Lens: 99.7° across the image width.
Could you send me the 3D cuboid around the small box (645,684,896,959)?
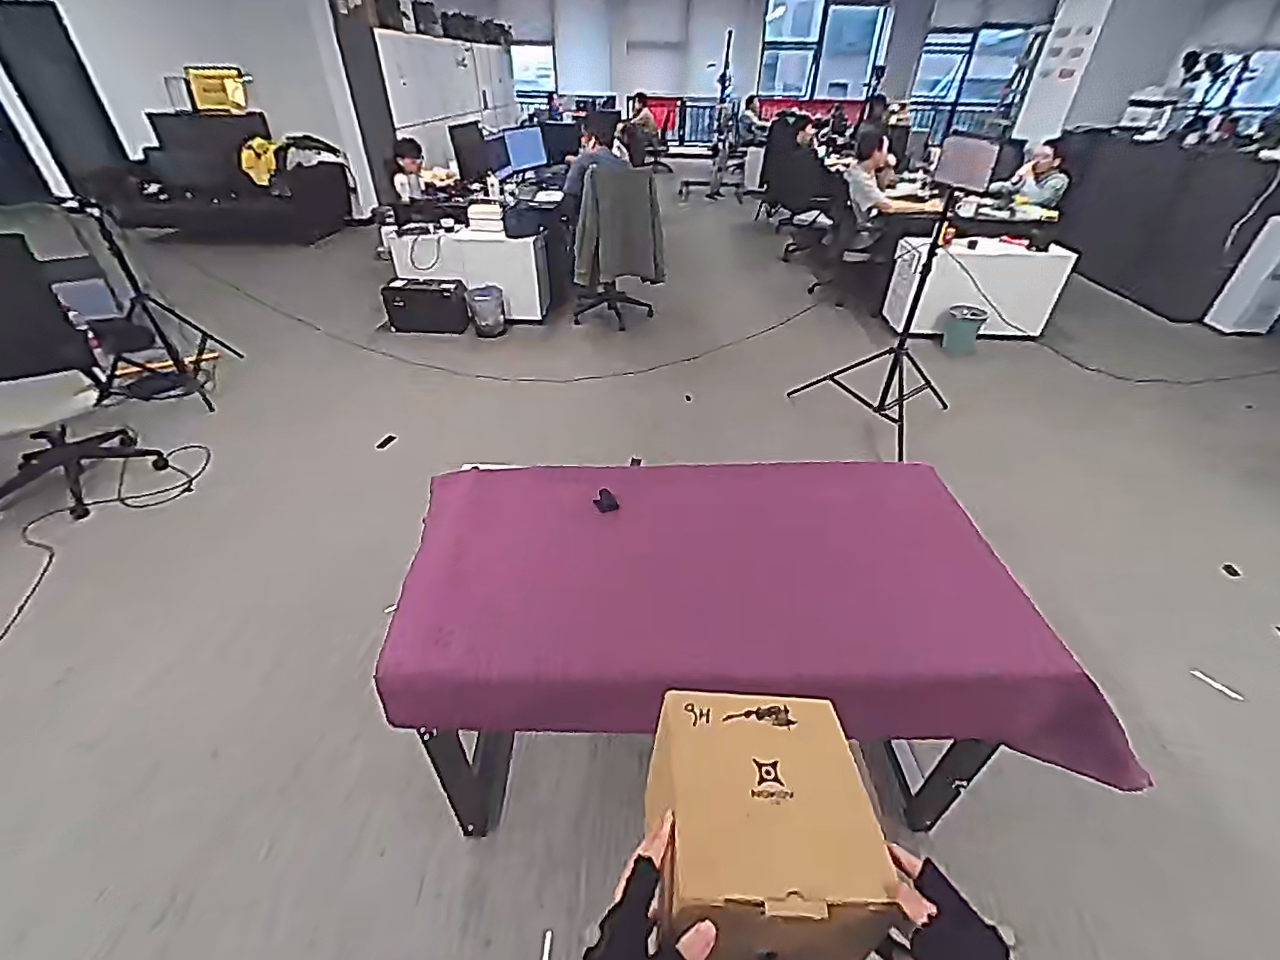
[{"bbox_3d":[0.096,0.317,0.493,0.168,0.176,0.179,5,31,-4],"label":"small box"}]
